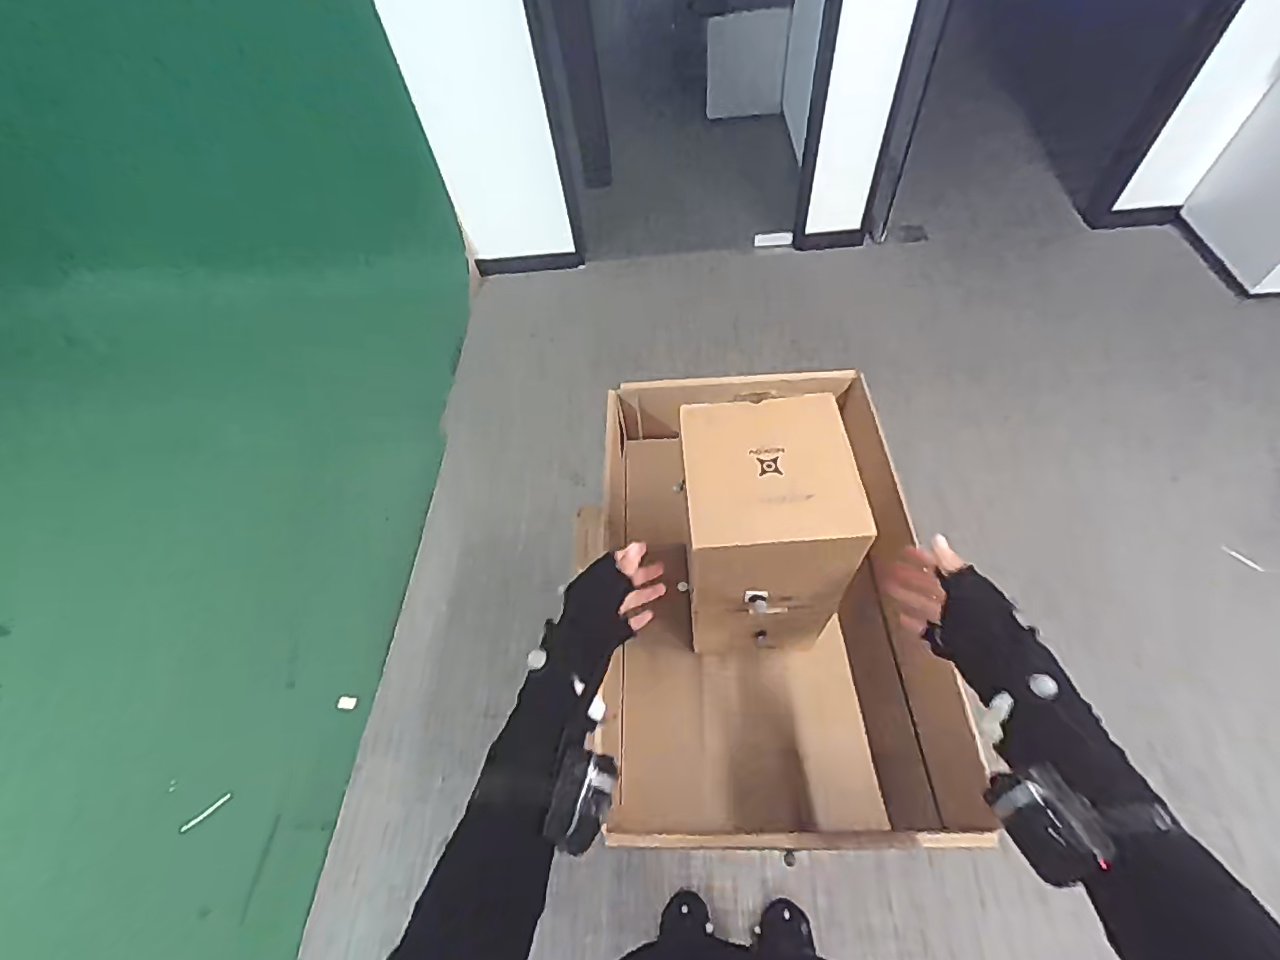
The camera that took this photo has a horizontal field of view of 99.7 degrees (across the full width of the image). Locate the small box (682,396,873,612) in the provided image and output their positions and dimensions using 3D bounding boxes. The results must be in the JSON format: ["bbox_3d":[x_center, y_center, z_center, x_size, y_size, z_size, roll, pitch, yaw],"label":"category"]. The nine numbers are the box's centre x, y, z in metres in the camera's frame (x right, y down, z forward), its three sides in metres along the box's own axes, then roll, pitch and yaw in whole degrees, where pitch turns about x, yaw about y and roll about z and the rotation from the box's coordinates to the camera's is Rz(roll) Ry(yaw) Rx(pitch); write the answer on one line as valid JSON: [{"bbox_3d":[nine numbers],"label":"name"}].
[{"bbox_3d":[0.131,0.031,0.595,0.168,0.176,0.179,-4,56,4],"label":"small box"}]

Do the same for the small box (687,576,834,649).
[{"bbox_3d":[0.148,0.123,0.729,0.168,0.176,0.179,-2,56,3],"label":"small box"}]
